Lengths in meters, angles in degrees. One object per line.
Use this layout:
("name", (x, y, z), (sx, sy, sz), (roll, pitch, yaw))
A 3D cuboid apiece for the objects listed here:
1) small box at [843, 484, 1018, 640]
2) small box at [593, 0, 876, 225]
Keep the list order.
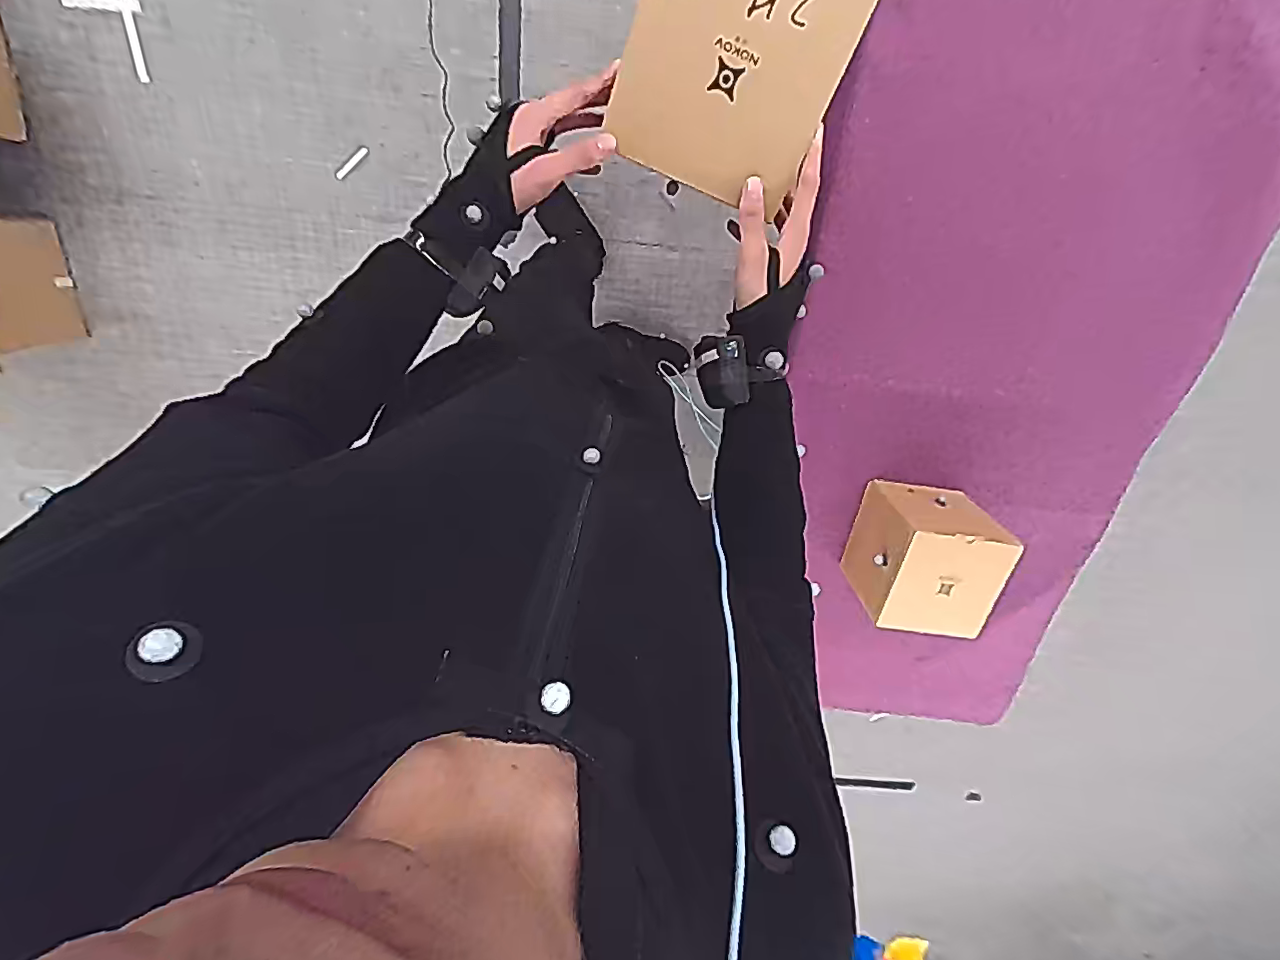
("small box", (0.450, 0.128, 0.876), (0.168, 0.176, 0.179), (8, 114, -4))
("small box", (0.069, -0.357, 0.482), (0.168, 0.176, 0.179), (19, 120, -11))
